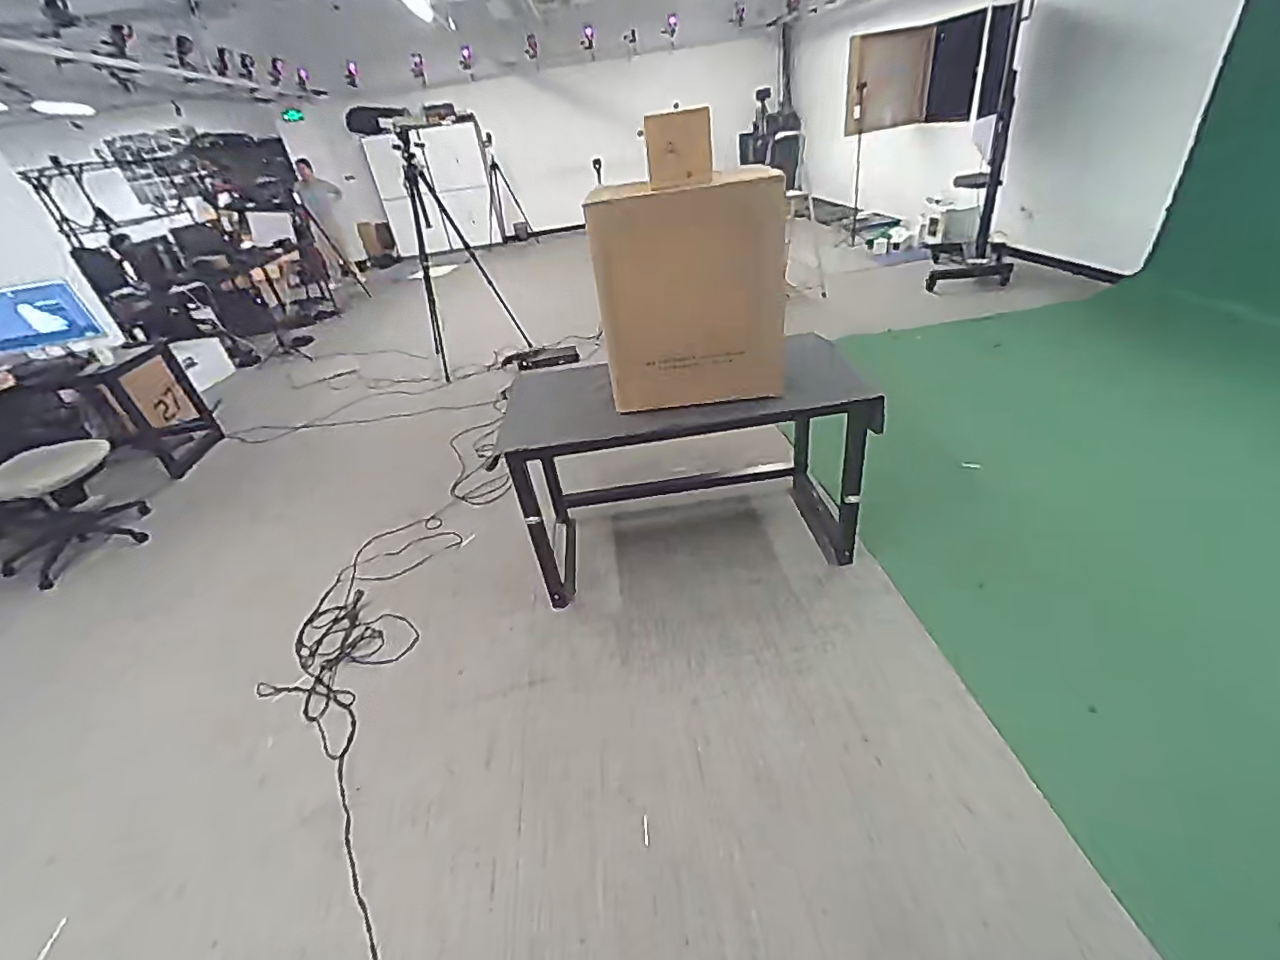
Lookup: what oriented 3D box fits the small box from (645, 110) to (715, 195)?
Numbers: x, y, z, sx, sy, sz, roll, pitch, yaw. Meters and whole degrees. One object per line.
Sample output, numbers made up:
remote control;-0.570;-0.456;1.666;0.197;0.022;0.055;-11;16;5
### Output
small box;0.106;-0.866;1.435;0.168;0.176;0.179;-6;35;4
